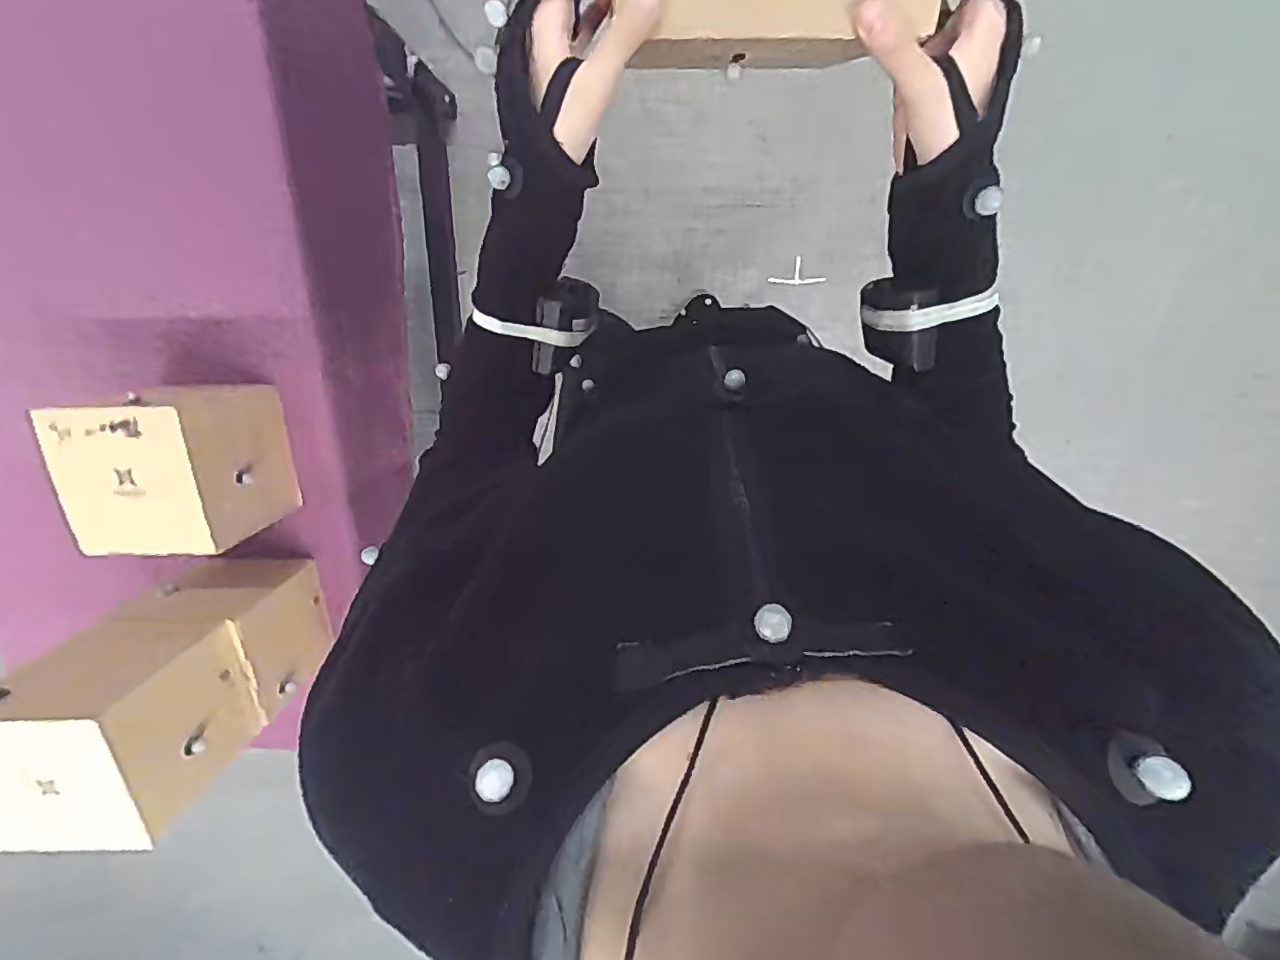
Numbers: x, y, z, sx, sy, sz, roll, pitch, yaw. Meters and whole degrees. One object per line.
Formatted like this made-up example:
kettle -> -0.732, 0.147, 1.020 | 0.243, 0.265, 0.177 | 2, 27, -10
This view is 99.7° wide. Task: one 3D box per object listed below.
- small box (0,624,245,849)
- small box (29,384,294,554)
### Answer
small box -> -0.591, 0.276, 0.609 | 0.179, 0.176, 0.168 | -2, 107, 4
small box -> -0.577, -0.021, 0.684 | 0.168, 0.176, 0.179 | 0, 108, 2
